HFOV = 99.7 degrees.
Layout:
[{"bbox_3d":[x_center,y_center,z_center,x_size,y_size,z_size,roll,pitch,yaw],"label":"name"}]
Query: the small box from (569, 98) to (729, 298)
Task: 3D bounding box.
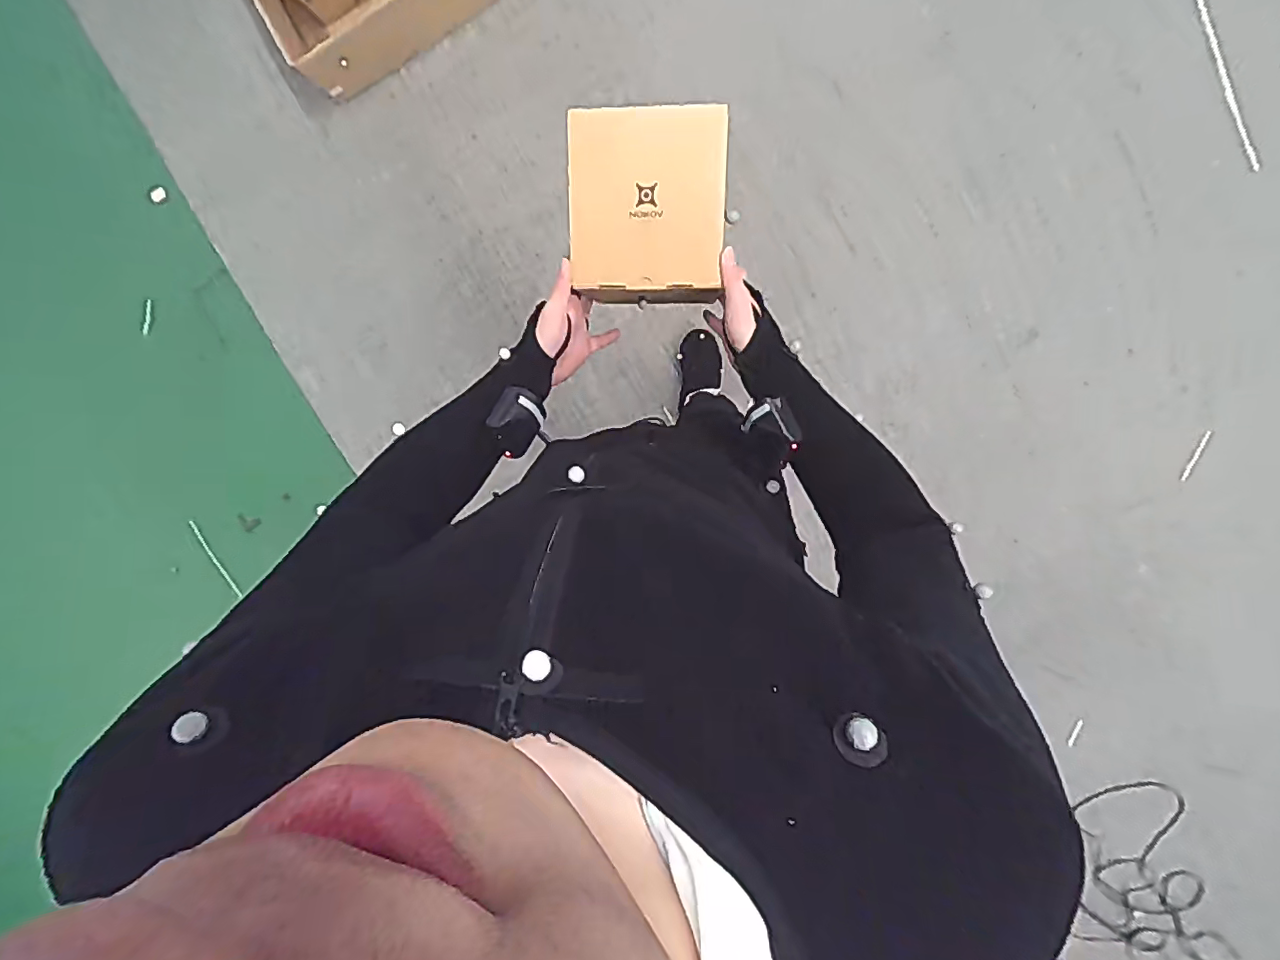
[{"bbox_3d":[0.012,-0.316,0.639,0.168,0.176,0.179,1,104,5],"label":"small box"}]
